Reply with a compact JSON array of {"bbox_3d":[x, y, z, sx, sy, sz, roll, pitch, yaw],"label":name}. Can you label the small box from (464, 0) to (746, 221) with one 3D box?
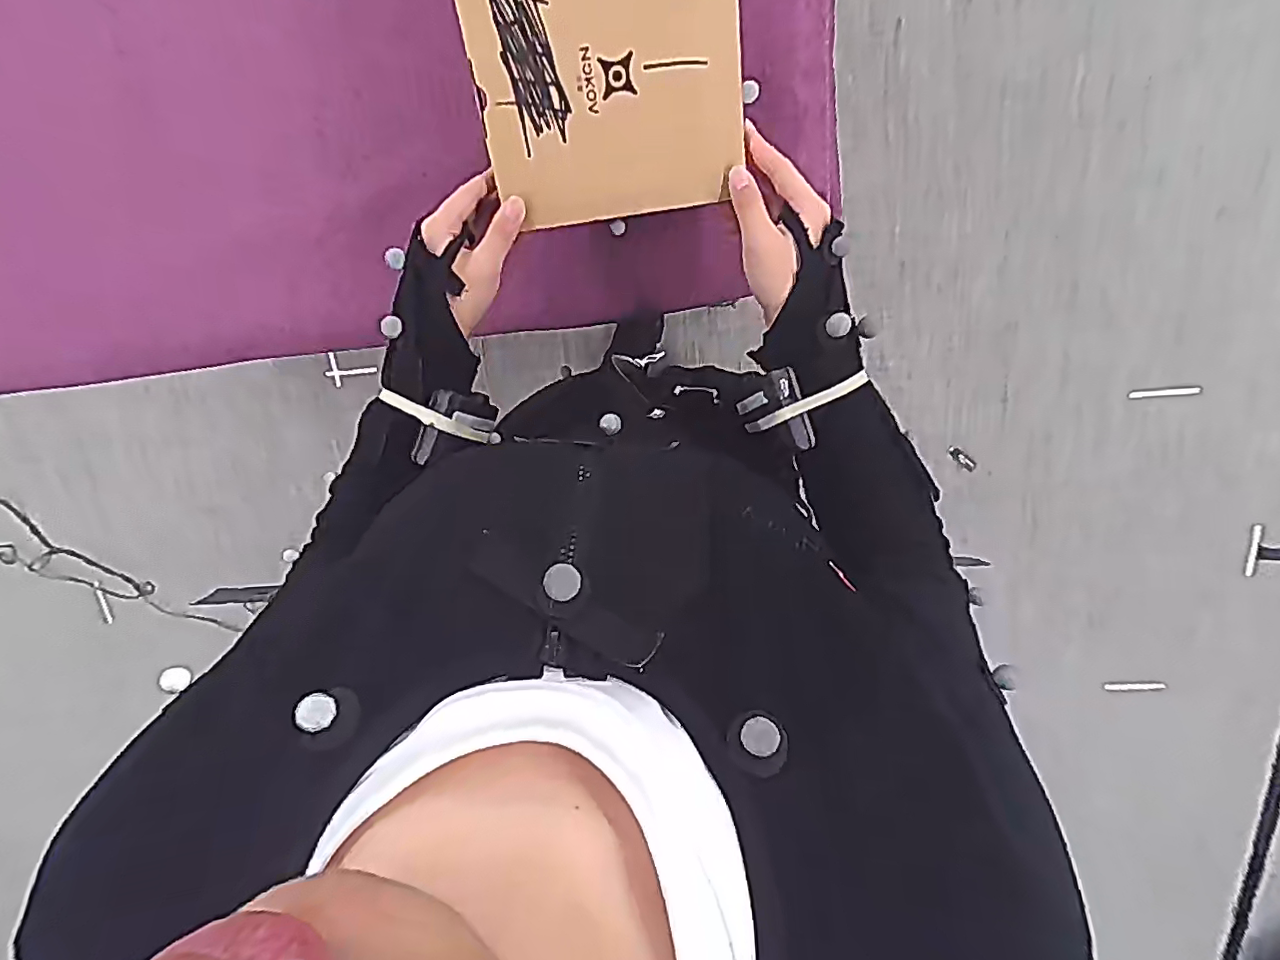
[{"bbox_3d":[-0.011,-0.300,0.418,0.179,0.176,0.168,-3,117,9],"label":"small box"}]
